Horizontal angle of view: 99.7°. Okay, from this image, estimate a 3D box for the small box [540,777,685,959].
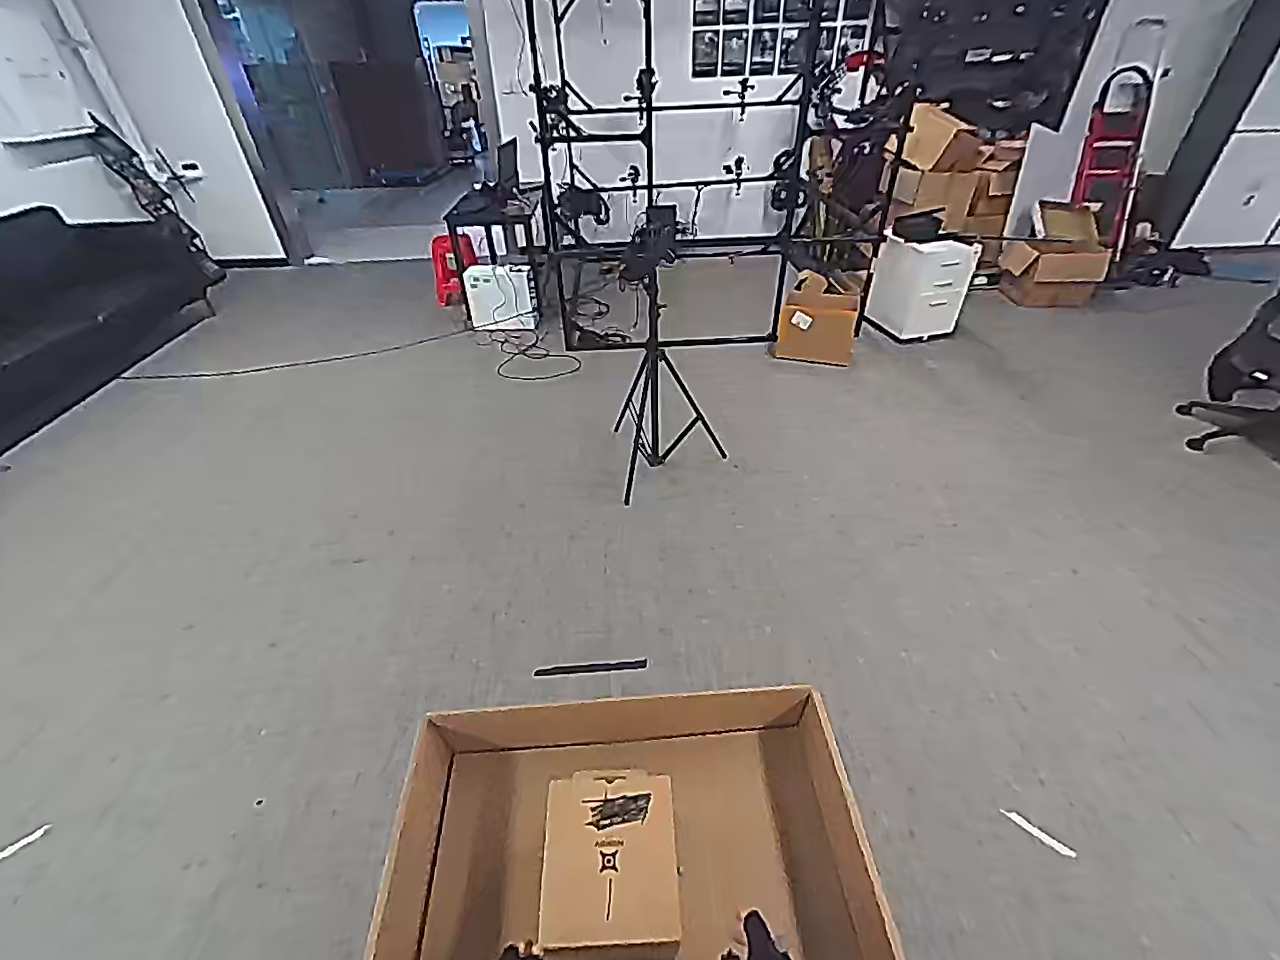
[{"bbox_3d":[-0.034,0.521,0.719,0.168,0.176,0.179,-3,43,-1],"label":"small box"}]
